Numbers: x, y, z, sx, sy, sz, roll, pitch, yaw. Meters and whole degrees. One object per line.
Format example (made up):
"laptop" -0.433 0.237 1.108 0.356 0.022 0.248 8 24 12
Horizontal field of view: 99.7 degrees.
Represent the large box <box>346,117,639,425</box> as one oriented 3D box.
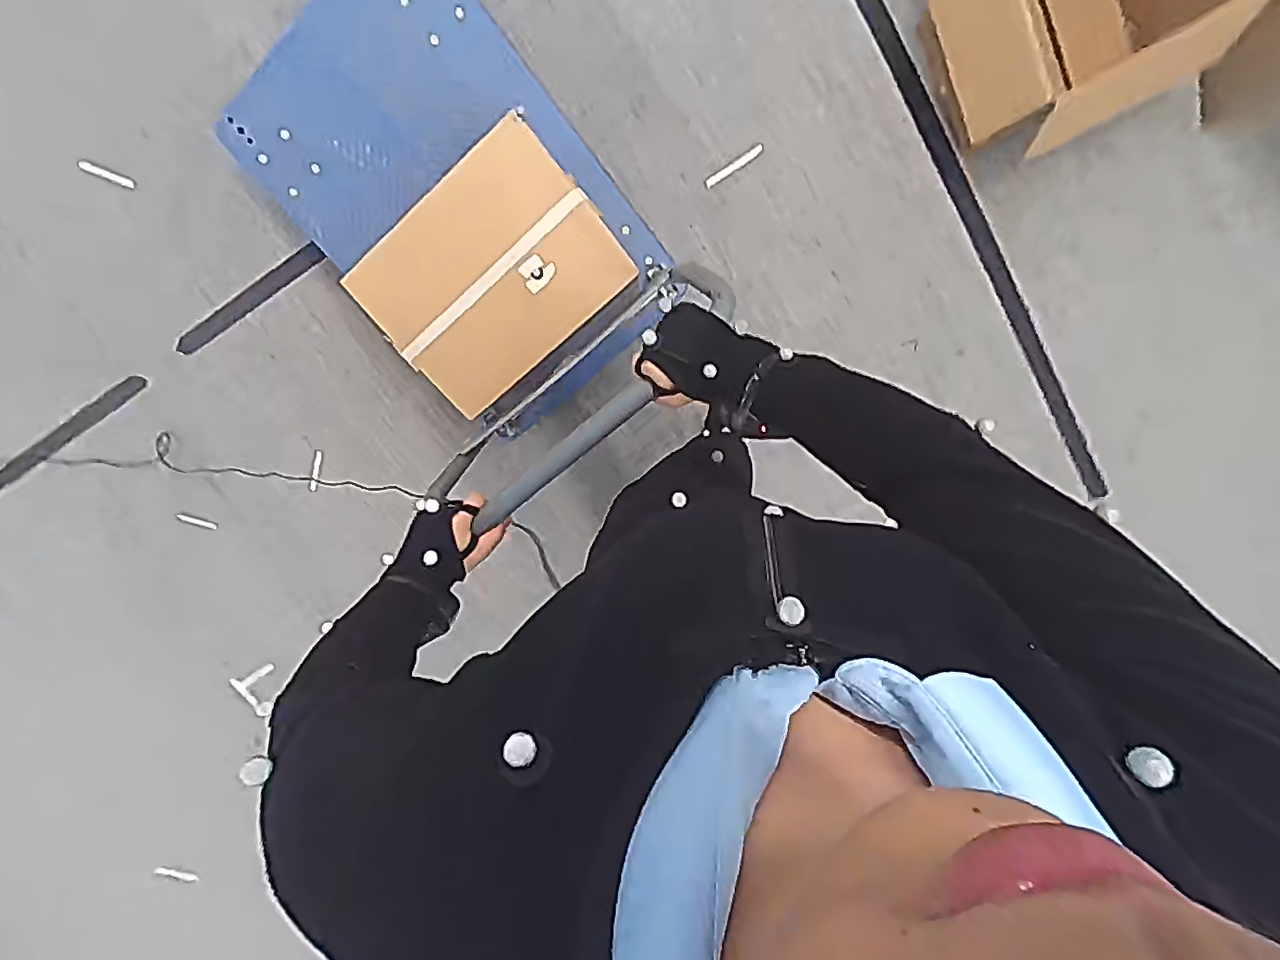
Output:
"large box" -0.250 -0.369 1.042 0.408 0.320 0.320 -39 105 9
